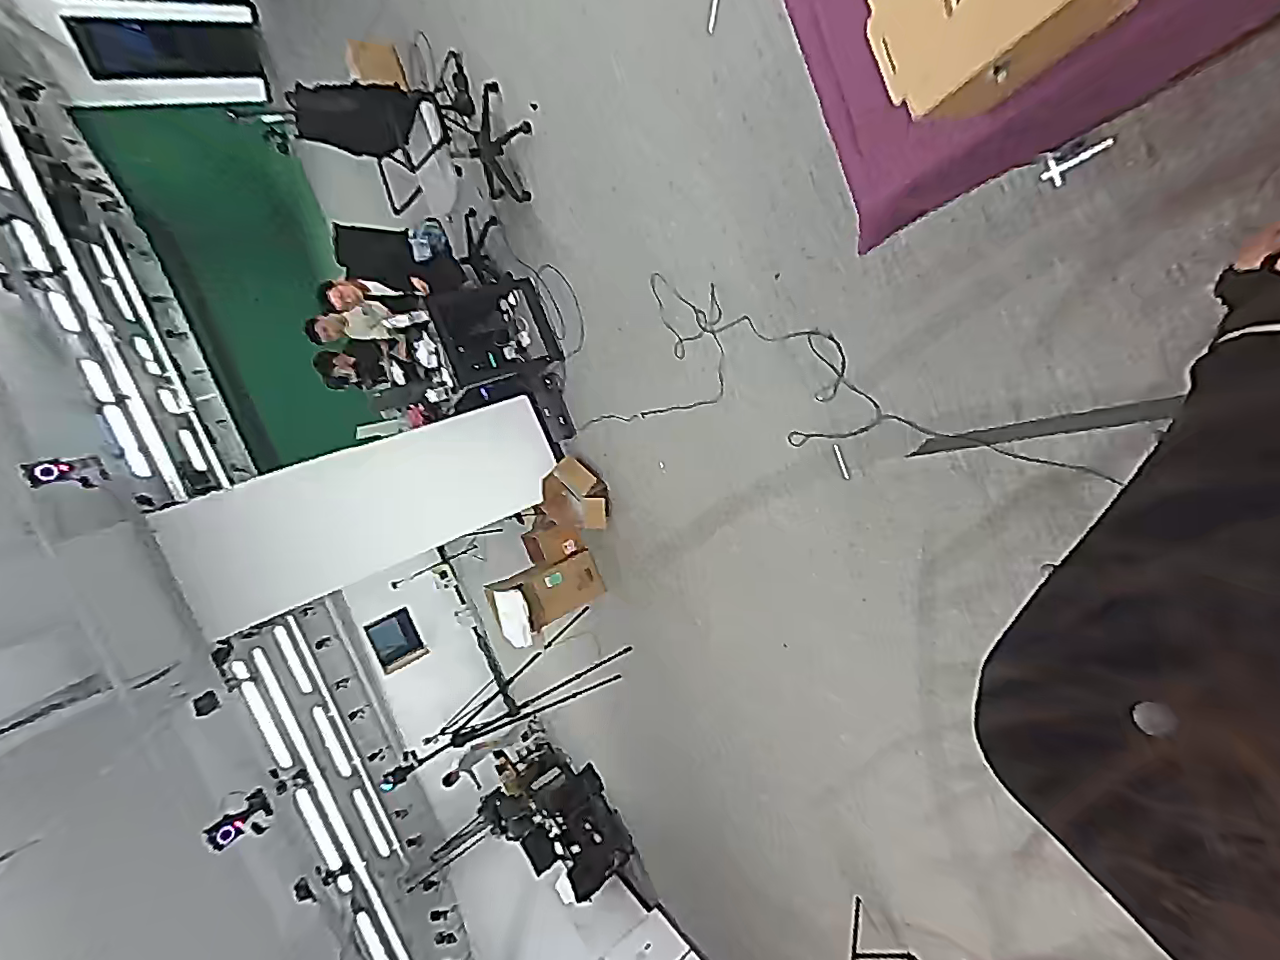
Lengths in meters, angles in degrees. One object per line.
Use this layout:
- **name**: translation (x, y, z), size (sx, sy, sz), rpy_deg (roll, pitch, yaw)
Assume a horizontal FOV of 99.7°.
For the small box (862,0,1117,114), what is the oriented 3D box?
- **small box**: translation (0.388, -0.547, 0.602), size (0.179, 0.176, 0.168), rpy_deg (-15, 99, 61)
